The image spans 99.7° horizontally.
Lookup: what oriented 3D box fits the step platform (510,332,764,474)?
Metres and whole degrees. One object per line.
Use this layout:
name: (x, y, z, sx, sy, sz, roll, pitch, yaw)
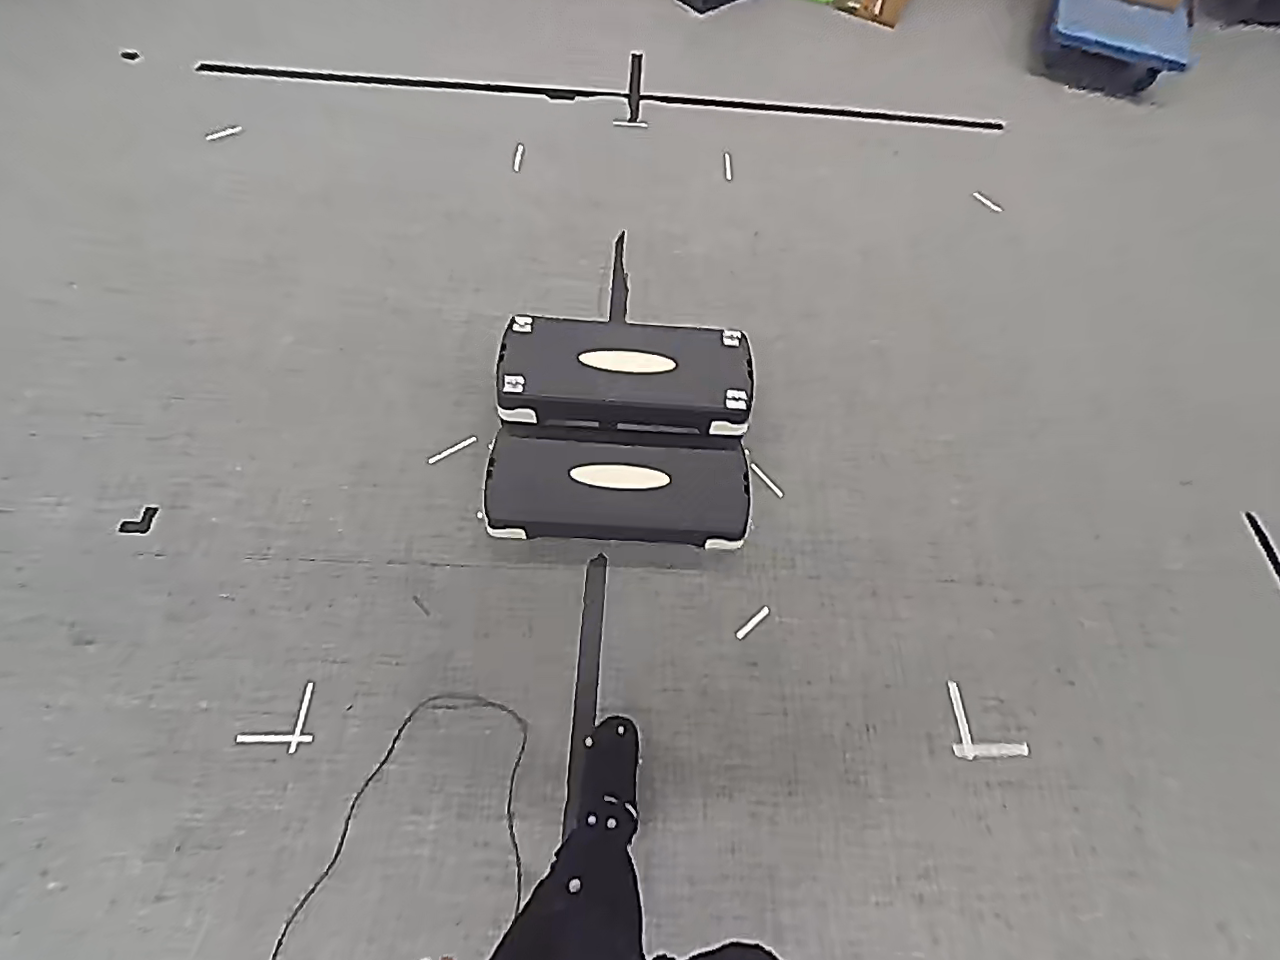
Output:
step platform: (-0.006, -0.215, 1.497, 0.684, 0.204, 0.286, 7, 61, -1)
